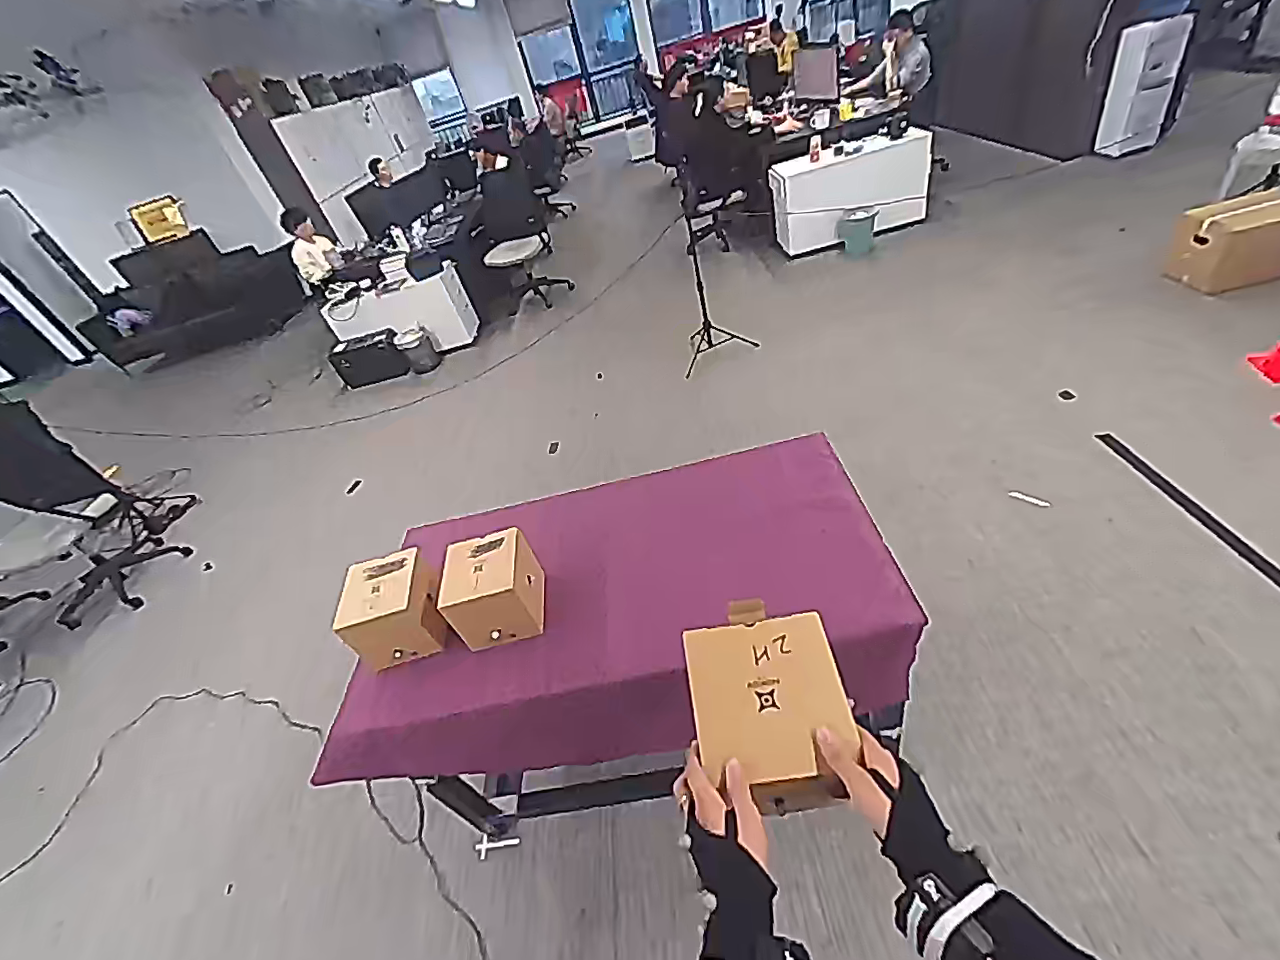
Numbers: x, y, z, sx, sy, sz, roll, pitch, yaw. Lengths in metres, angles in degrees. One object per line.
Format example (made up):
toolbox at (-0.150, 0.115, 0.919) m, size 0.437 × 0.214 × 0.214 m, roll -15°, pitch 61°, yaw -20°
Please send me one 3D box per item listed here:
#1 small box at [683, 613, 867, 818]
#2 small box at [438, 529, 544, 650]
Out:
small box at (0.151, 0.285, 0.642) m, size 0.168 × 0.176 × 0.179 m, roll -10°, pitch 47°, yaw 4°
small box at (-0.317, 0.242, 1.188) m, size 0.168 × 0.176 × 0.179 m, roll -16°, pitch 40°, yaw 4°
